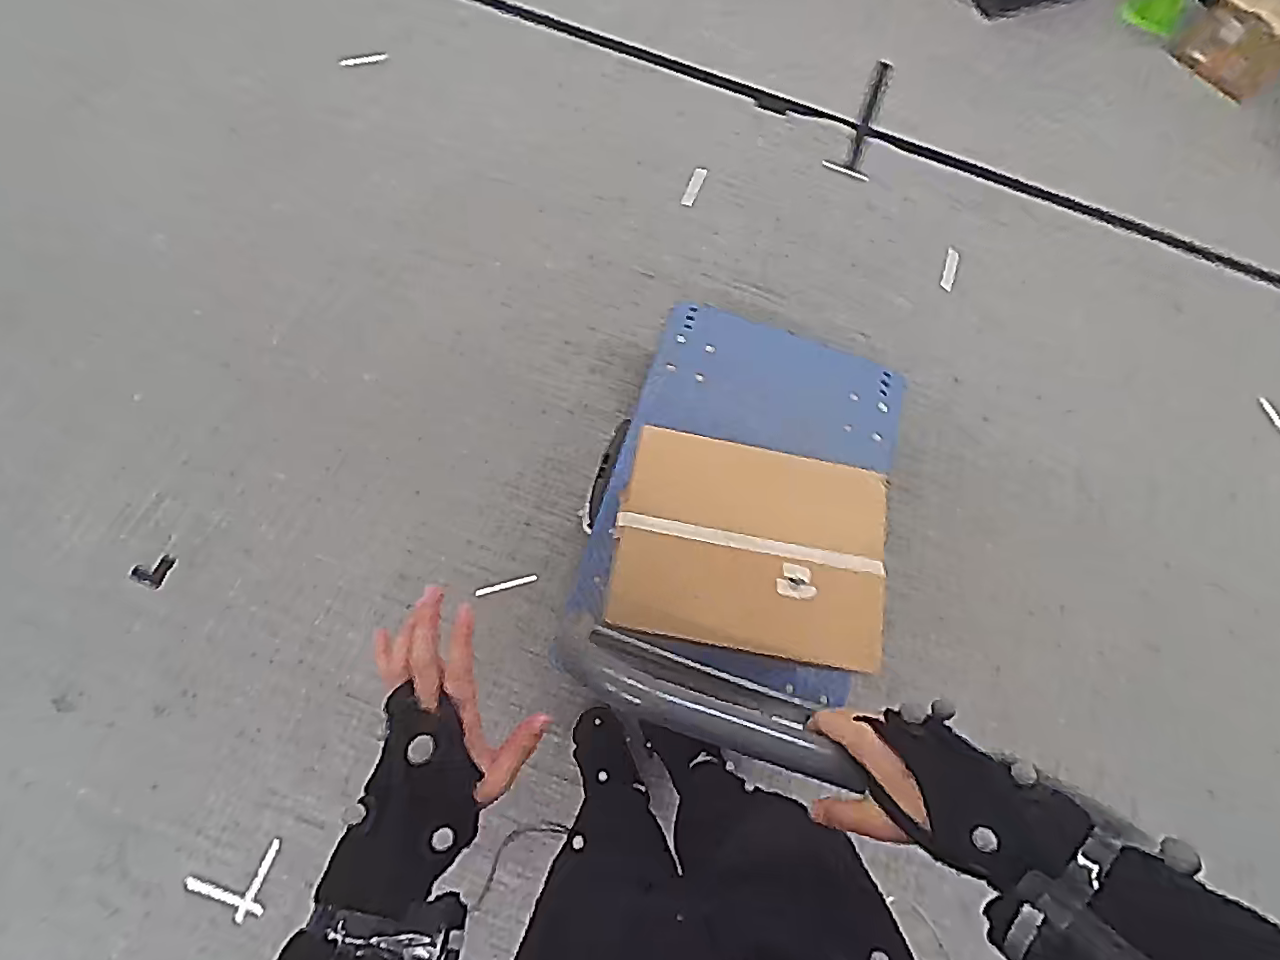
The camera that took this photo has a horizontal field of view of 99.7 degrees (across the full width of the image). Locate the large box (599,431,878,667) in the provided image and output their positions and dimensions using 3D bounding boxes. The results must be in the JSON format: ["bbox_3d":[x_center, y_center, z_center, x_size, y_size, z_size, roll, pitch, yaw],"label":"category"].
[{"bbox_3d":[0.152,0.141,0.963,0.408,0.320,0.320,11,73,-3],"label":"large box"}]
